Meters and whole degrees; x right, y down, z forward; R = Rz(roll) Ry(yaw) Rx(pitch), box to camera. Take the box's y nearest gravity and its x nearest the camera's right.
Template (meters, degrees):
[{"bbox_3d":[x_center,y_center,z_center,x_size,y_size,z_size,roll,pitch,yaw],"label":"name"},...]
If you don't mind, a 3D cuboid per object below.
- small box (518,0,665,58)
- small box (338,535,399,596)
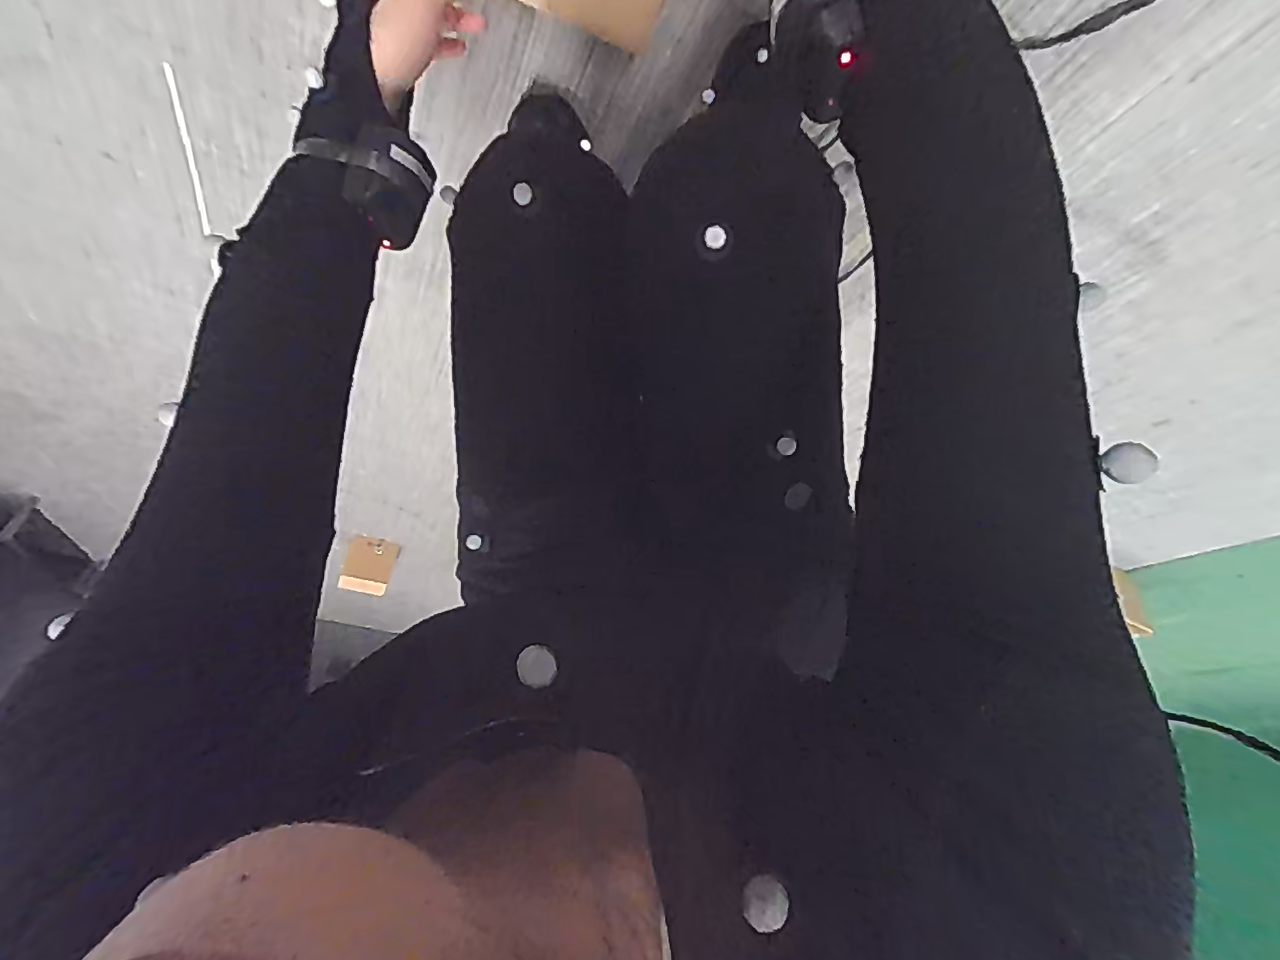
[{"bbox_3d":[-0.044,-0.490,0.417,0.179,0.176,0.168,12,152,-18],"label":"small box"},{"bbox_3d":[-1.046,0.331,2.084,0.168,0.176,0.179,18,147,-23],"label":"small box"}]
